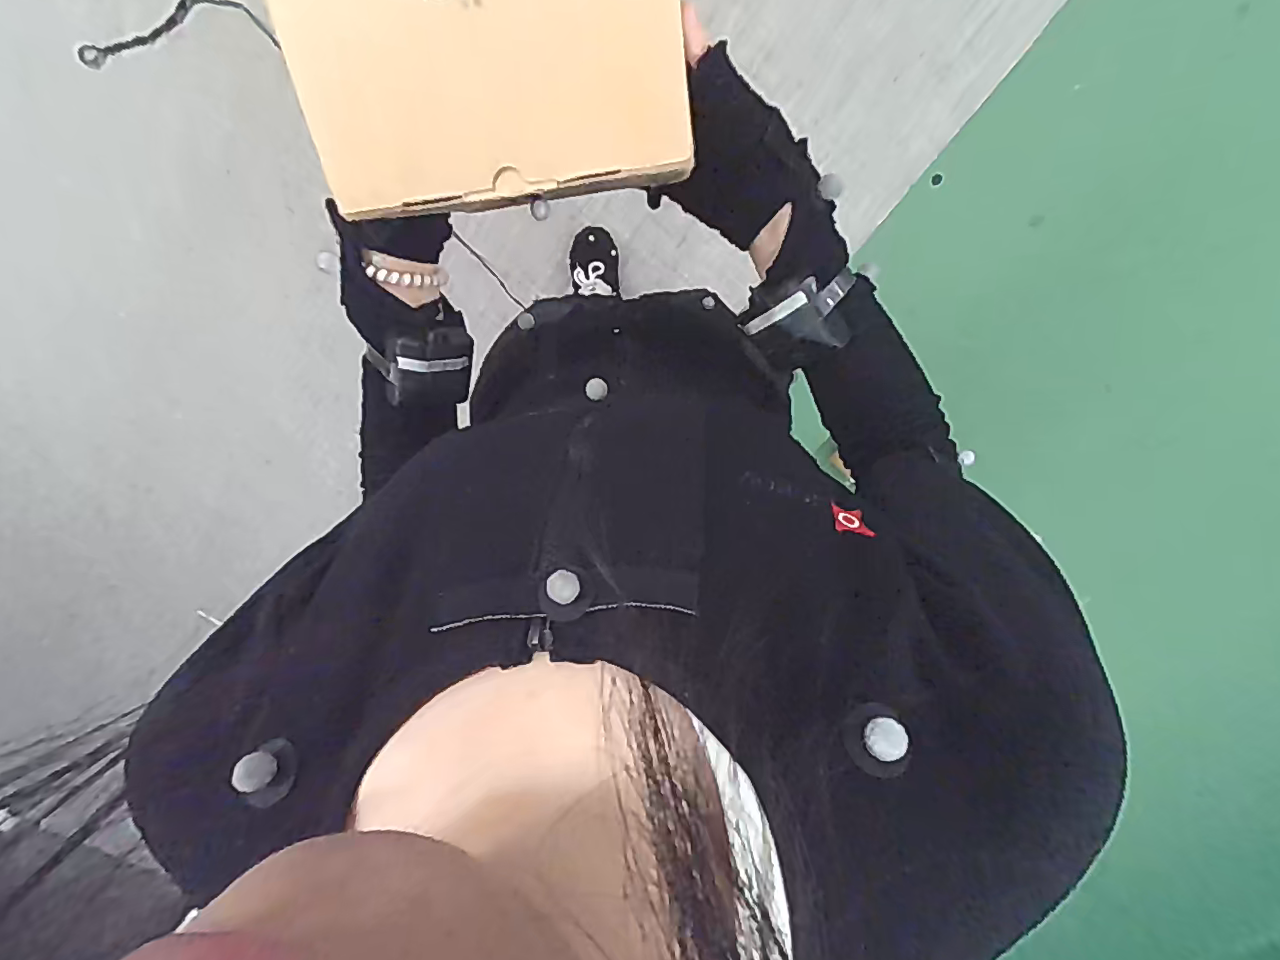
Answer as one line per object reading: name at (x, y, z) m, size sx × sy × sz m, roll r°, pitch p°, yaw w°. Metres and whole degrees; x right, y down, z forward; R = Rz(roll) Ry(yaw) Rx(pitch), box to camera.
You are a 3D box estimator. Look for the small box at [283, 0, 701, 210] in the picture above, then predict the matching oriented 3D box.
small box at (-0.060, -0.245, 0.277) m, size 0.168 × 0.176 × 0.179 m, roll -5°, pitch 118°, yaw 6°
